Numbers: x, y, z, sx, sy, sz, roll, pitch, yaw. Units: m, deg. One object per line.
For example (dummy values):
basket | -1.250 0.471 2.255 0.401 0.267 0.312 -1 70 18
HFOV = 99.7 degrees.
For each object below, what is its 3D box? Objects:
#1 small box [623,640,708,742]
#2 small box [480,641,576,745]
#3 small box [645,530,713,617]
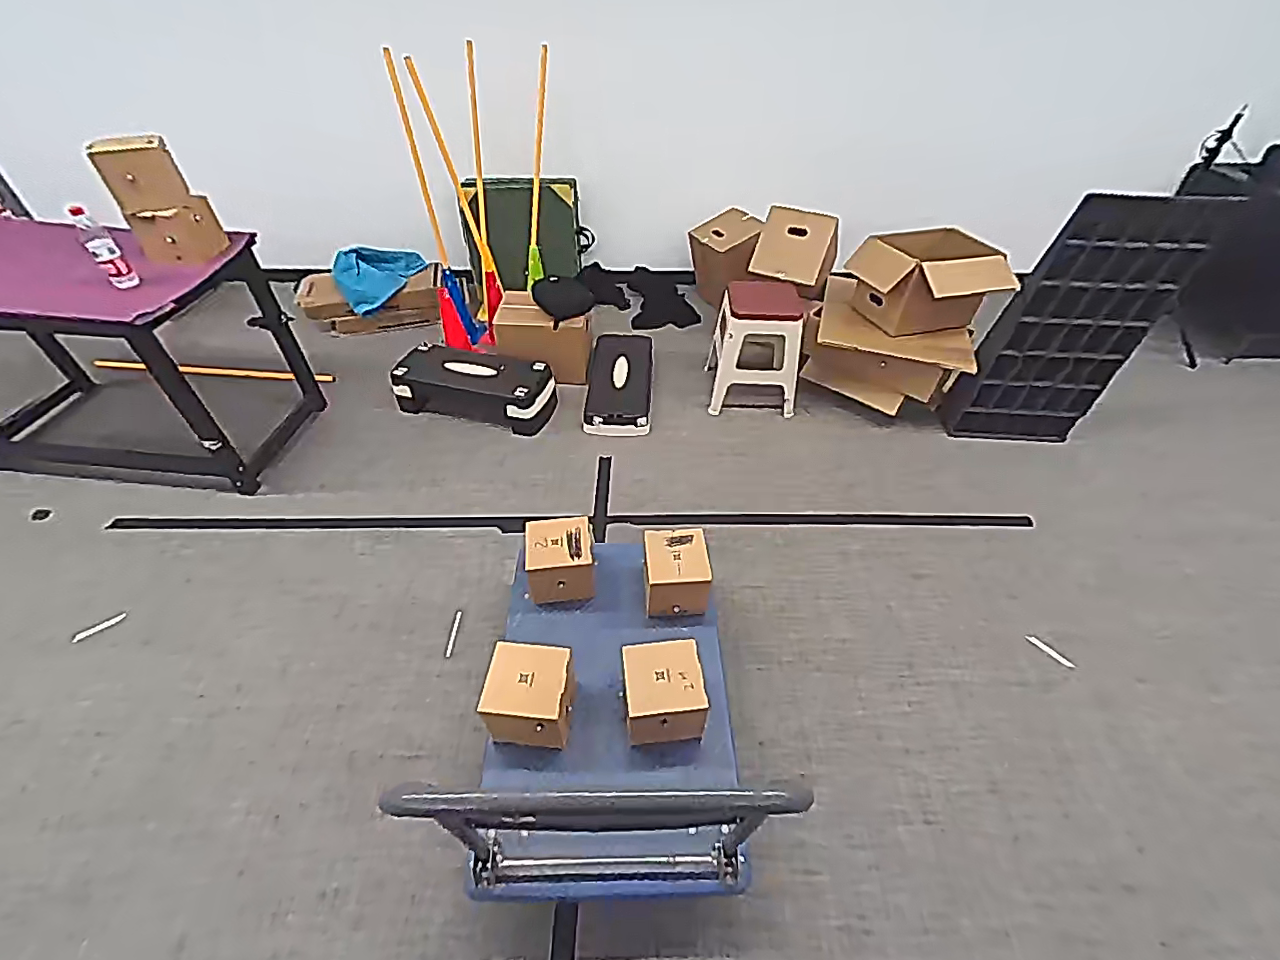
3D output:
small box | 0.054 0.498 1.266 0.179 0.176 0.168 -4 46 -5
small box | -0.251 0.498 1.259 0.179 0.176 0.168 6 45 2
small box | 0.101 0.260 1.503 0.168 0.176 0.179 -2 46 -3
